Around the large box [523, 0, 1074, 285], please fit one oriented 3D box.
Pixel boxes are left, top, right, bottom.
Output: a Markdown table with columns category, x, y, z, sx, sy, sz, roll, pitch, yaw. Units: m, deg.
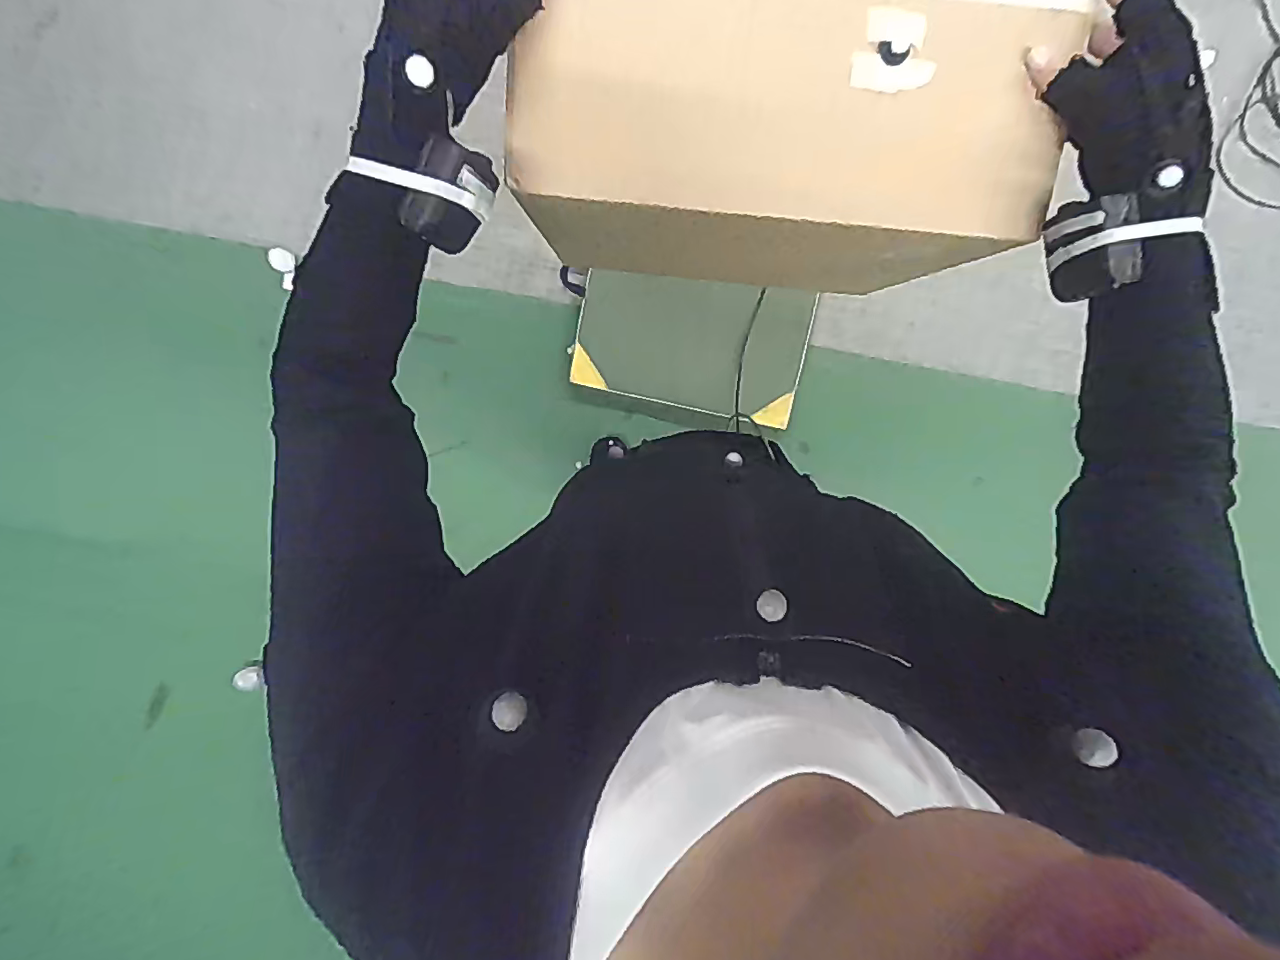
| category | x | y | z | sx | sy | sz | roll | pitch | yaw |
| --- | --- | --- | --- | --- | --- | --- | --- | --- | --- |
| large box | 0.112 | -0.387 | 0.531 | 0.408 | 0.320 | 0.320 | 4 | 102 | -3 |
